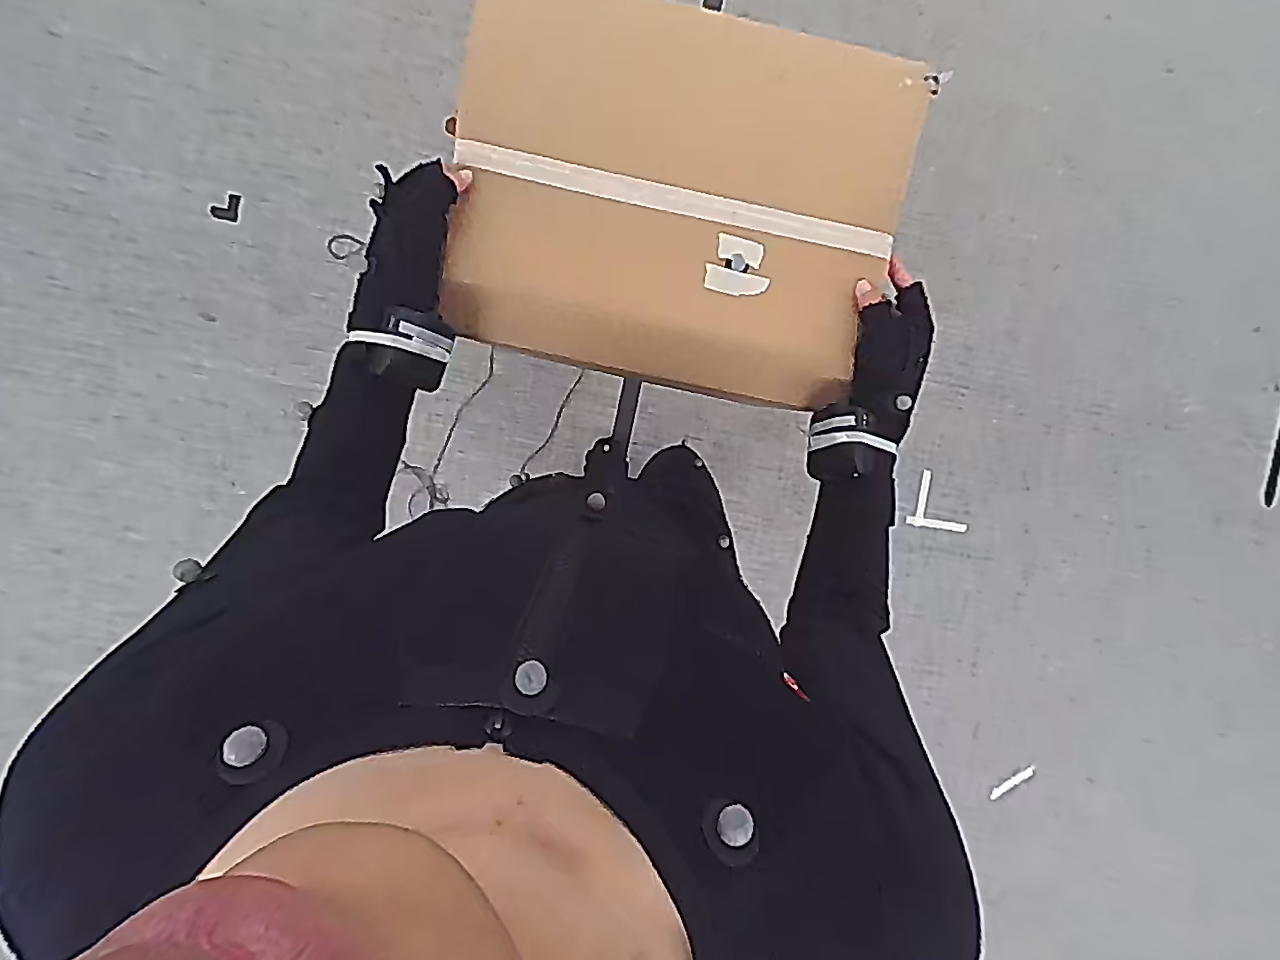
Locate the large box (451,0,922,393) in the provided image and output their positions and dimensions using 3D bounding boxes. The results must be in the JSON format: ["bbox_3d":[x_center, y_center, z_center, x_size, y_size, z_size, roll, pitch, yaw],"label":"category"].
[{"bbox_3d":[0.033,-0.293,0.655,0.408,0.320,0.320,11,100,-3],"label":"large box"}]
